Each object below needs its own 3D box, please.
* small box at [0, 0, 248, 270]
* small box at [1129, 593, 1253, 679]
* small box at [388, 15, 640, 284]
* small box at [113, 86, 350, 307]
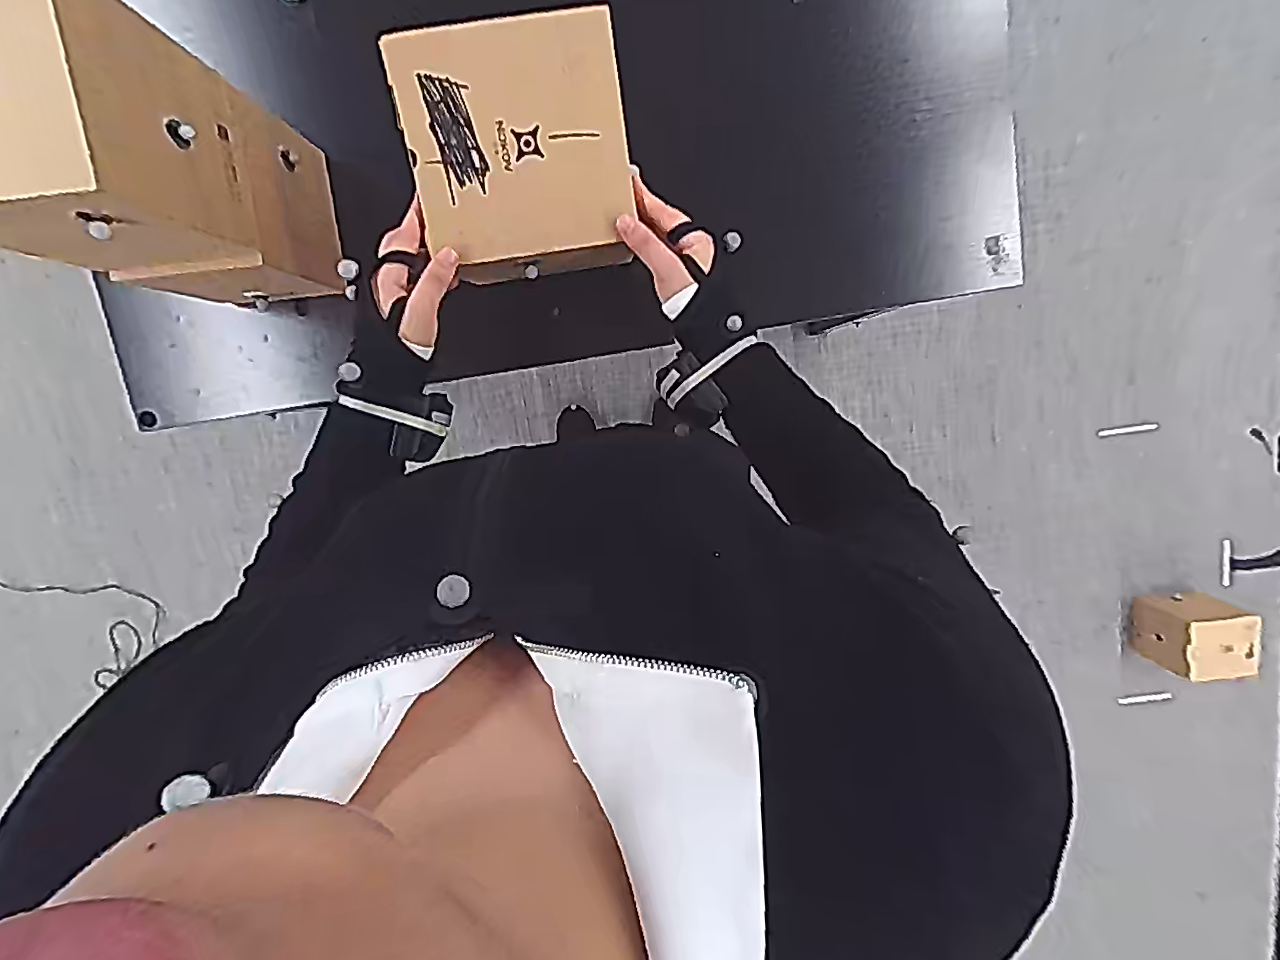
[{"bbox_3d":[-0.478,-0.290,0.463,0.179,0.176,0.168,-6,98,2],"label":"small box"},{"bbox_3d":[1.484,0.418,1.468,0.179,0.176,0.168,-7,99,3],"label":"small box"},{"bbox_3d":[-0.099,-0.283,0.504,0.179,0.176,0.168,-9,107,-2],"label":"small box"},{"bbox_3d":[-0.471,-0.310,0.627,0.168,0.176,0.179,-6,100,2],"label":"small box"}]
